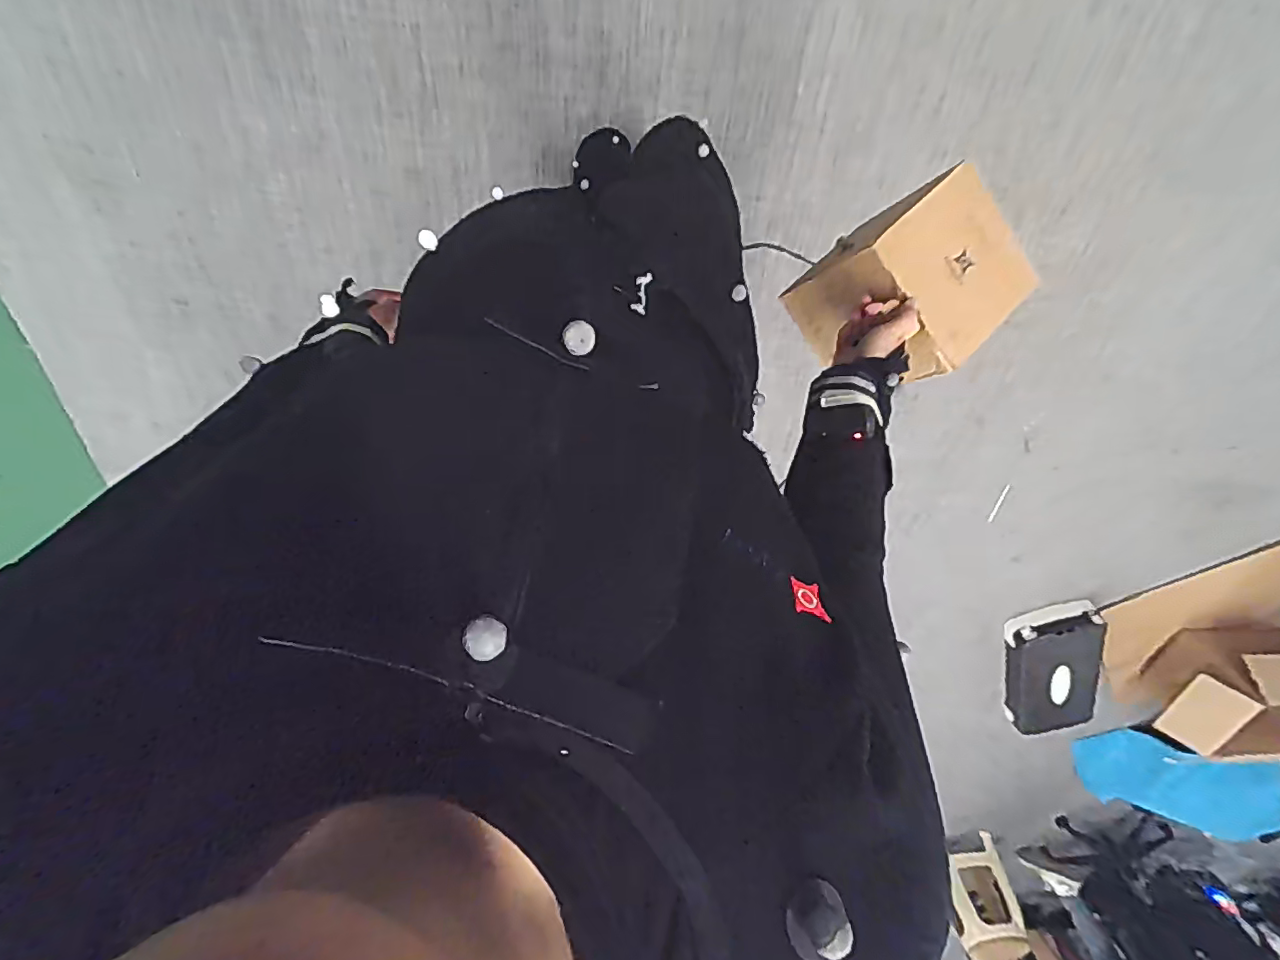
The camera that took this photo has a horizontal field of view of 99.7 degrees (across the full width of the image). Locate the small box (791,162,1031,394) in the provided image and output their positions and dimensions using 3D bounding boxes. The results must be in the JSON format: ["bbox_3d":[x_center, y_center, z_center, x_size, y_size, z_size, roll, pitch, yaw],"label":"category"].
[{"bbox_3d":[0.310,-0.226,0.653,0.179,0.176,0.168,-44,103,-17],"label":"small box"}]
